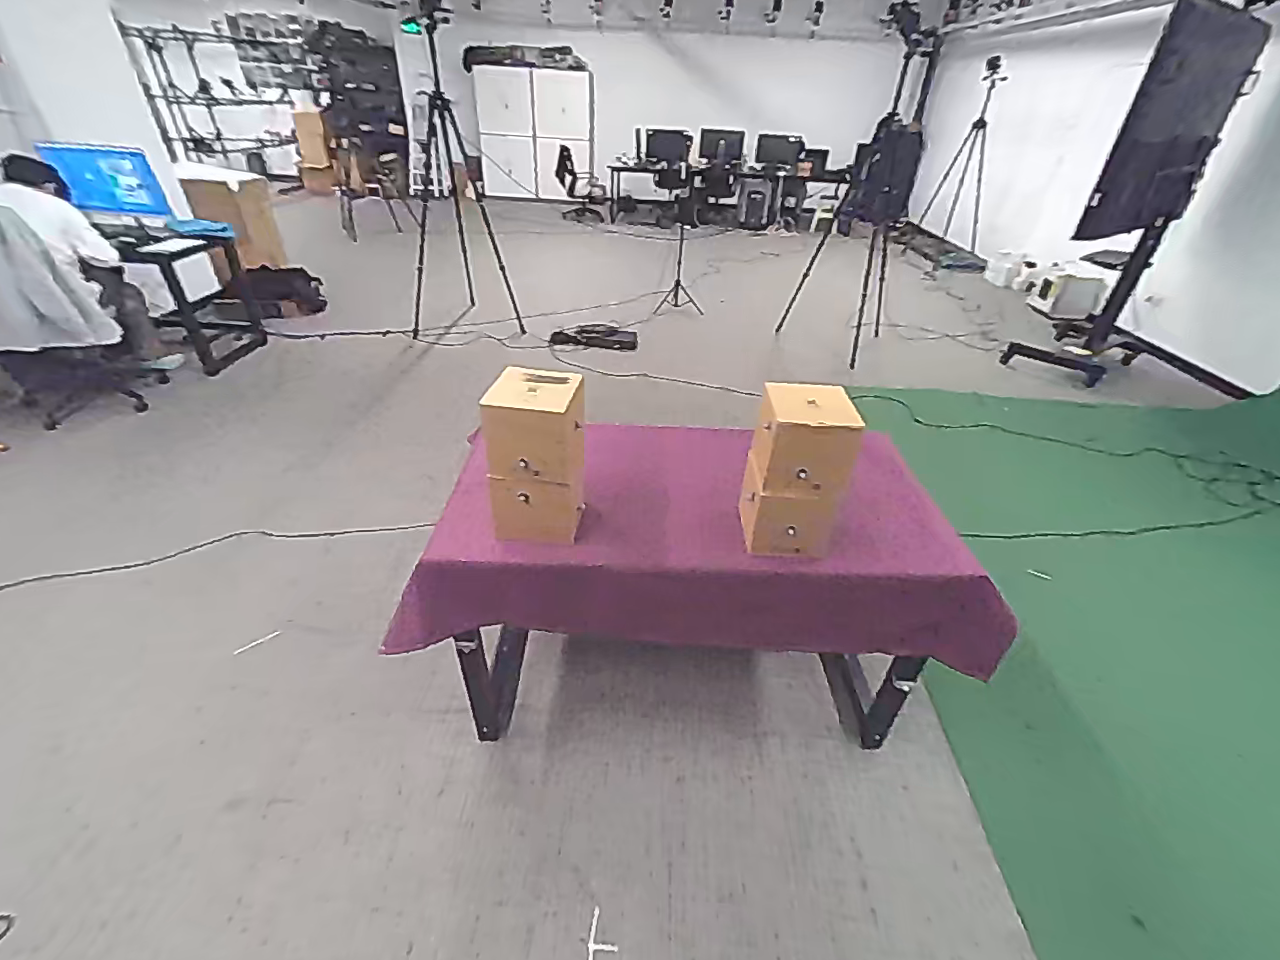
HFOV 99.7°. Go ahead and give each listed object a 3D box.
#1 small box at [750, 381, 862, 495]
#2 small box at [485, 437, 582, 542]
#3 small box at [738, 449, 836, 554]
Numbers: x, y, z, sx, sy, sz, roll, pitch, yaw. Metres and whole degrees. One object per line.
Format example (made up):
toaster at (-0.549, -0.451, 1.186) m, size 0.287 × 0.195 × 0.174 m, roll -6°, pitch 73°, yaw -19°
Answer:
small box at (0.330, -0.088, 1.117) m, size 0.168 × 0.176 × 0.179 m, roll 3°, pitch 36°, yaw 0°
small box at (-0.229, 0.022, 1.204) m, size 0.179 × 0.176 × 0.168 m, roll 5°, pitch 35°, yaw 1°
small box at (0.318, 0.049, 1.205) m, size 0.168 × 0.176 × 0.179 m, roll 3°, pitch 35°, yaw 0°
